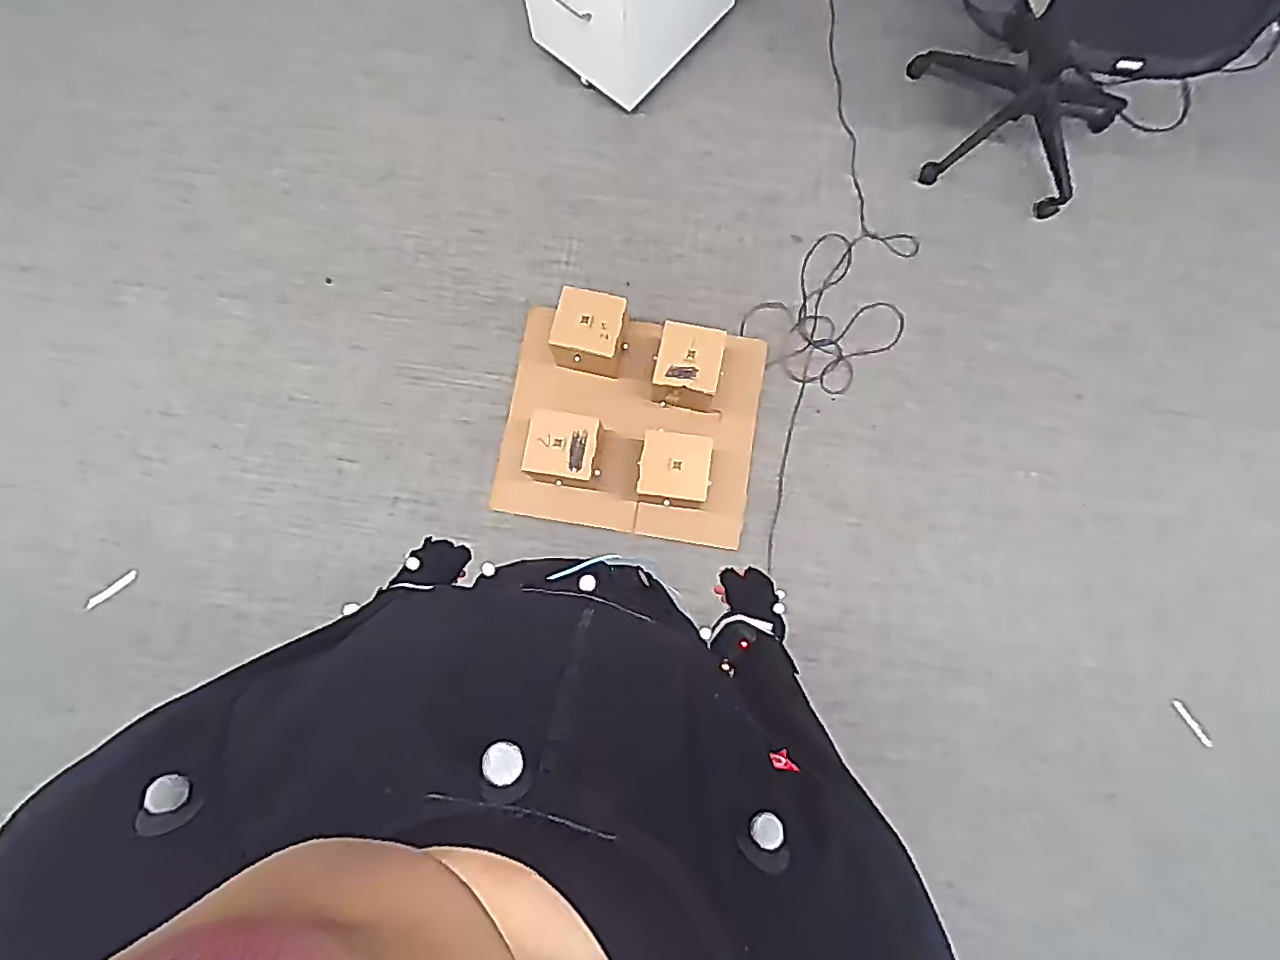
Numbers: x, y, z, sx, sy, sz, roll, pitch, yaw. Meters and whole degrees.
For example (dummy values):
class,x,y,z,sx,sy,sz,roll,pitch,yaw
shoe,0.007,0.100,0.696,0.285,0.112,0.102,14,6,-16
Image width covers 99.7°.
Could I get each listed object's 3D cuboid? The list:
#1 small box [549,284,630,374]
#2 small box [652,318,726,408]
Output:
class,x,y,z,sx,sy,sz,roll,pitch,yaw
small box,-0.132,-0.408,1.485,0.179,0.176,0.168,14,82,2
small box,0.131,-0.310,1.472,0.168,0.176,0.179,12,81,4
